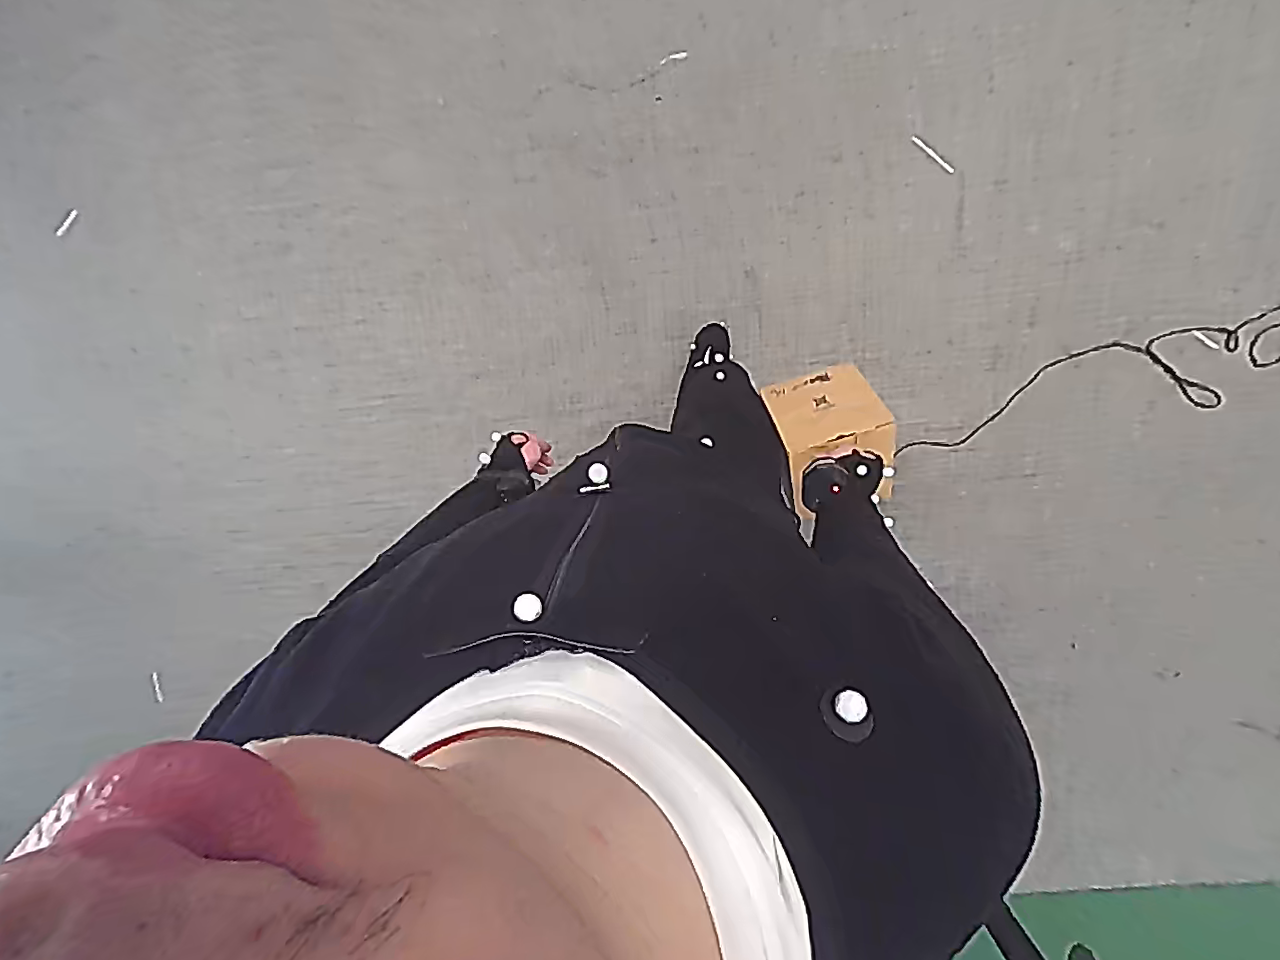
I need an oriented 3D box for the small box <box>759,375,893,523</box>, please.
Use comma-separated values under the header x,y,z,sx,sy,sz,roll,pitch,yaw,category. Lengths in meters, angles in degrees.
x,y,z,sx,sy,sz,roll,pitch,yaw,category
0.321,-0.046,0.932,0.168,0.179,0.176,-18,129,5,small box
